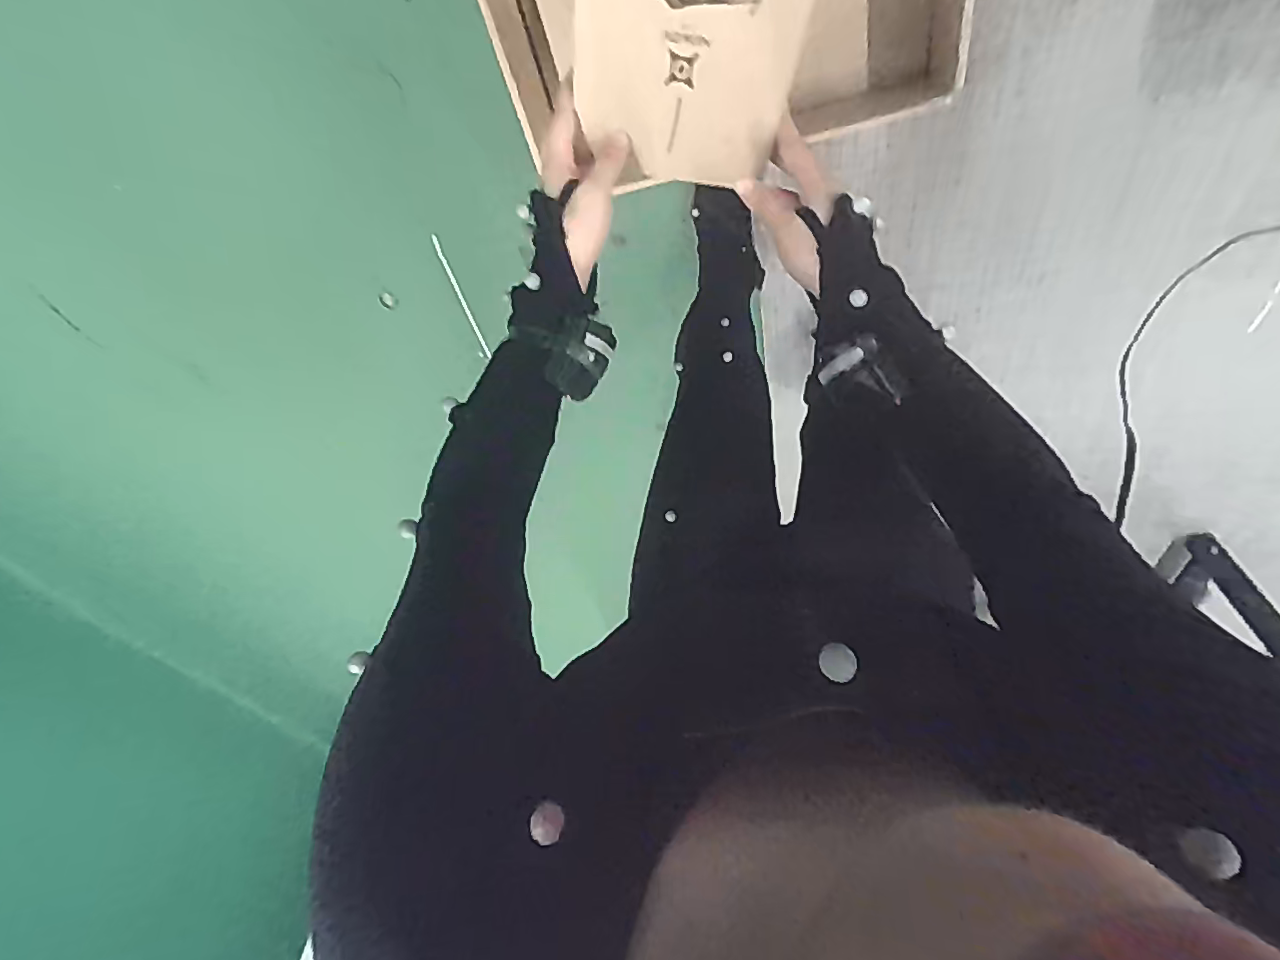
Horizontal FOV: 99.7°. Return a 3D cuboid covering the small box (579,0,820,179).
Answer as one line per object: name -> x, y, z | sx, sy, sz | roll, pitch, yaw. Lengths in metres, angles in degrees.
small box -> 0.041, -0.380, 0.440 | 0.168, 0.176, 0.179 | 5, 142, -4
